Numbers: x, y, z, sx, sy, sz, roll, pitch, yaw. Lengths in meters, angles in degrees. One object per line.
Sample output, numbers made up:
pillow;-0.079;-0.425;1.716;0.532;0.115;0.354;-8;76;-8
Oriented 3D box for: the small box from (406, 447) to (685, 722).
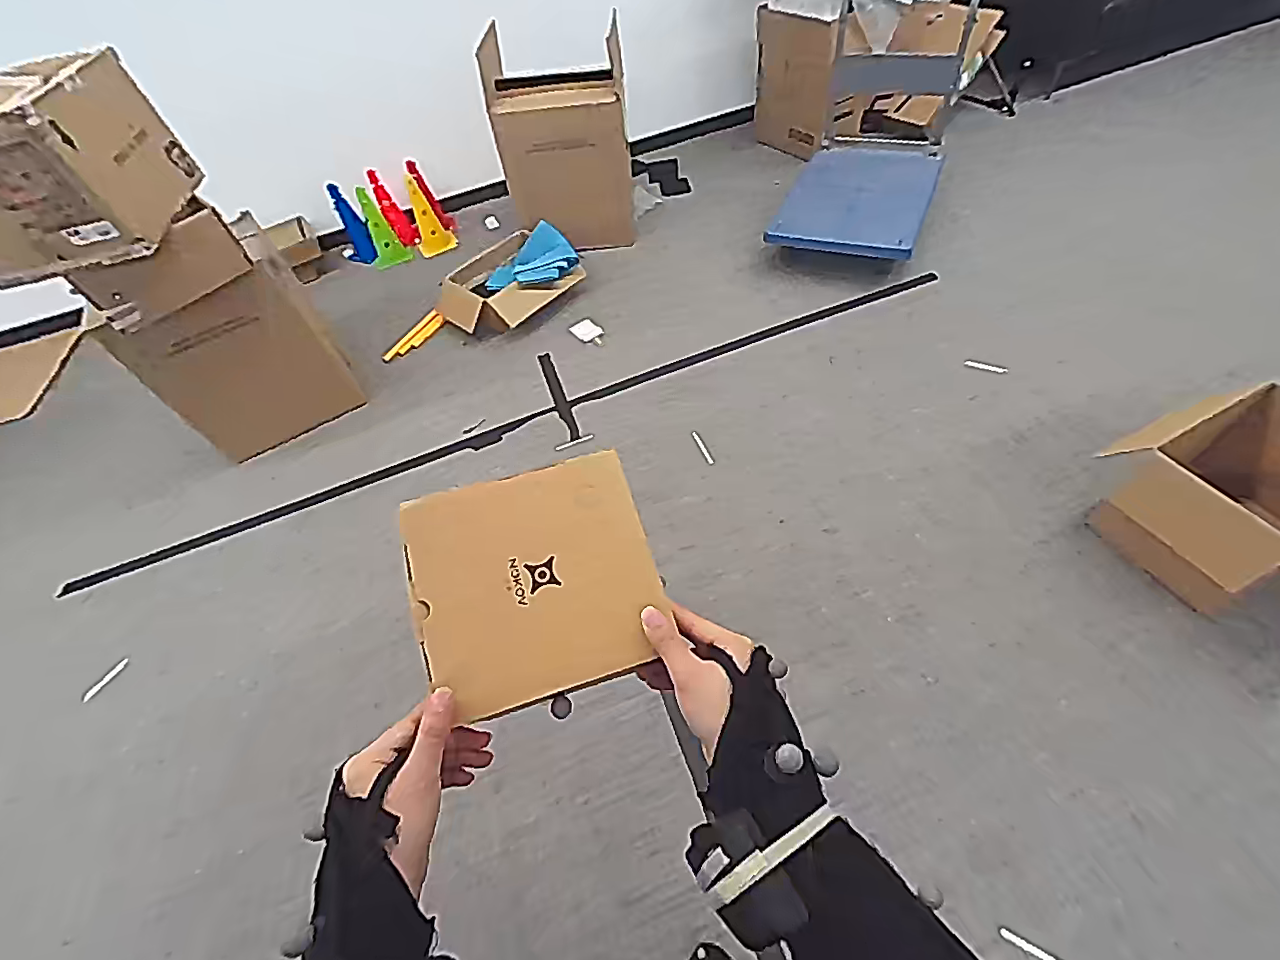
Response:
small box;-0.079;0.095;0.473;0.179;0.176;0.168;-16;70;-10
